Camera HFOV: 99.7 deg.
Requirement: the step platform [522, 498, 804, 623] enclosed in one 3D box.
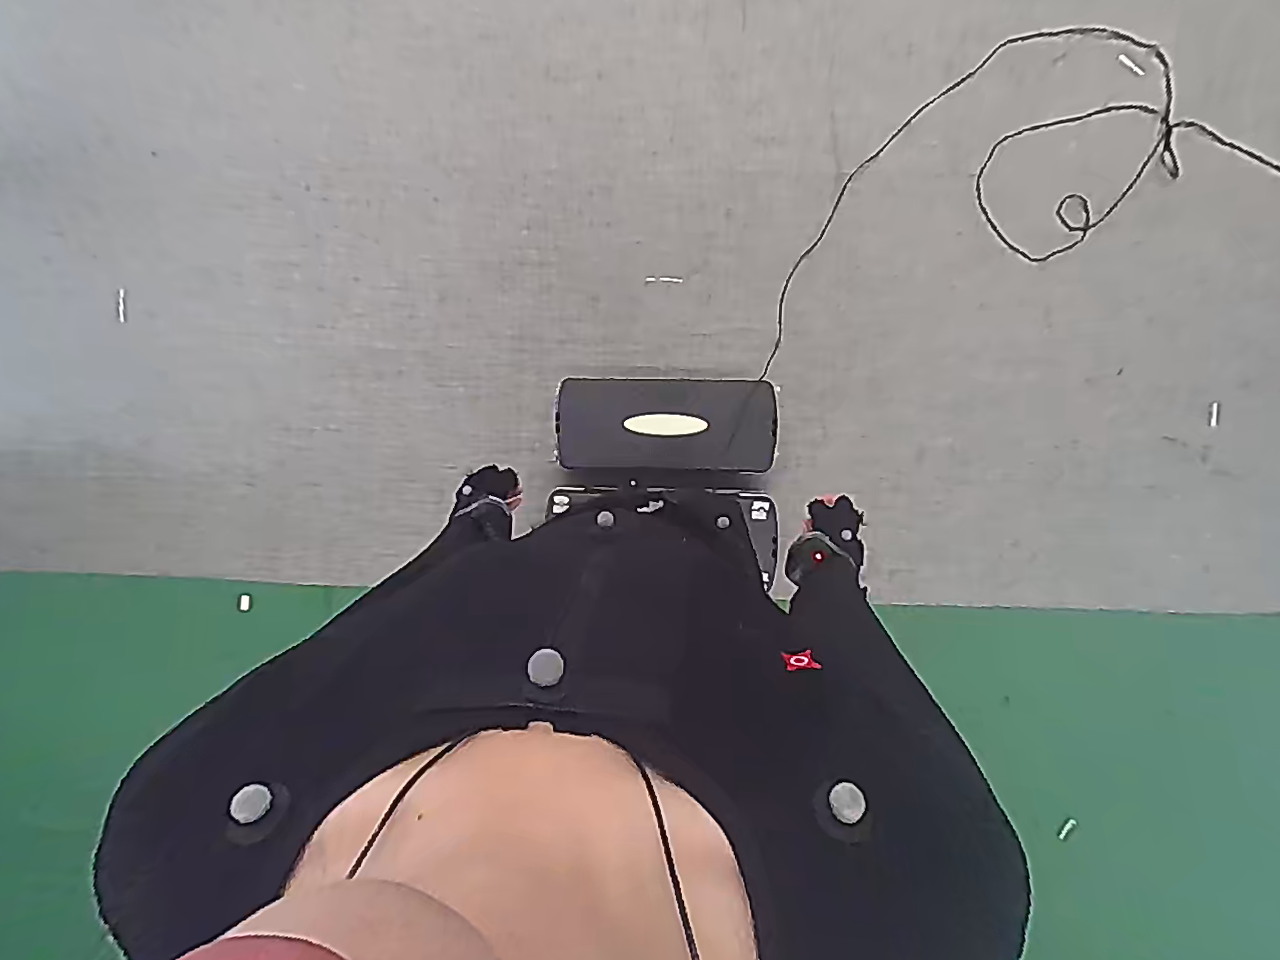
[{"bbox_3d":[0.057,0.196,1.396,0.684,0.204,0.286,1,91,0],"label":"step platform"}]
